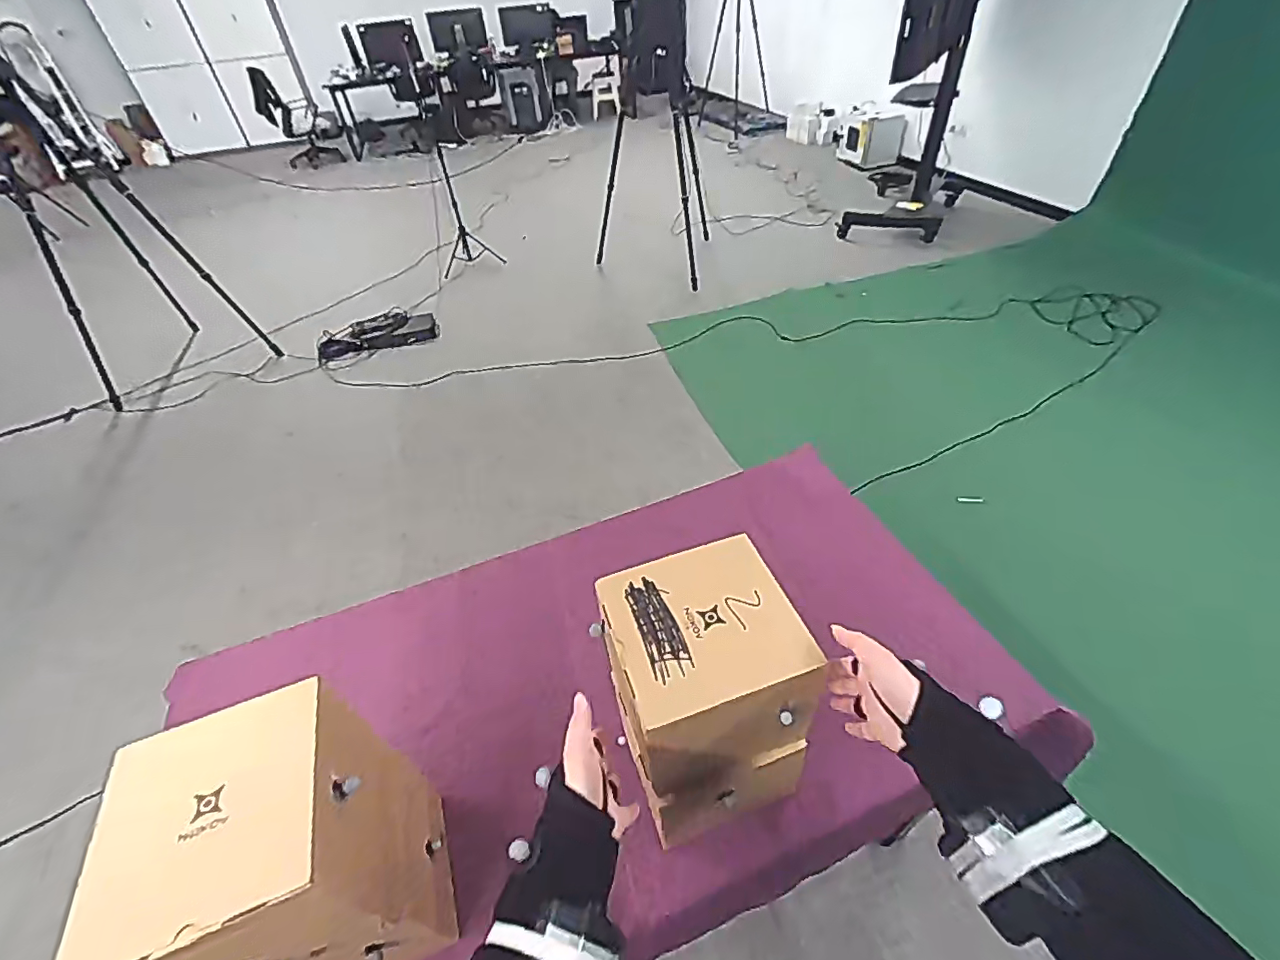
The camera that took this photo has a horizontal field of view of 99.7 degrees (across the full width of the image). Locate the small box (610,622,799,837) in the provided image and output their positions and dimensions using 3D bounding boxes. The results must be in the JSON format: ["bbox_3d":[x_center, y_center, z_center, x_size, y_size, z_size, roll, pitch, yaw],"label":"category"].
[{"bbox_3d":[0.076,0.316,0.682,0.179,0.176,0.168,-17,45,-11],"label":"small box"}]

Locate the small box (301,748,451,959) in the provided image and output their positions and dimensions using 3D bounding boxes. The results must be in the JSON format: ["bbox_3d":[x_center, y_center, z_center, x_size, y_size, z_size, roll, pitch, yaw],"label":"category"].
[{"bbox_3d":[-0.322,0.438,0.599,0.179,0.176,0.168,-18,45,-13],"label":"small box"}]

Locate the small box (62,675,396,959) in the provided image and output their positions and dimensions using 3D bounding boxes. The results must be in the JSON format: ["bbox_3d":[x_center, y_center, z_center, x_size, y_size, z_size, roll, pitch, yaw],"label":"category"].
[{"bbox_3d":[-0.338,0.318,0.489,0.168,0.176,0.179,-19,46,-13],"label":"small box"}]
